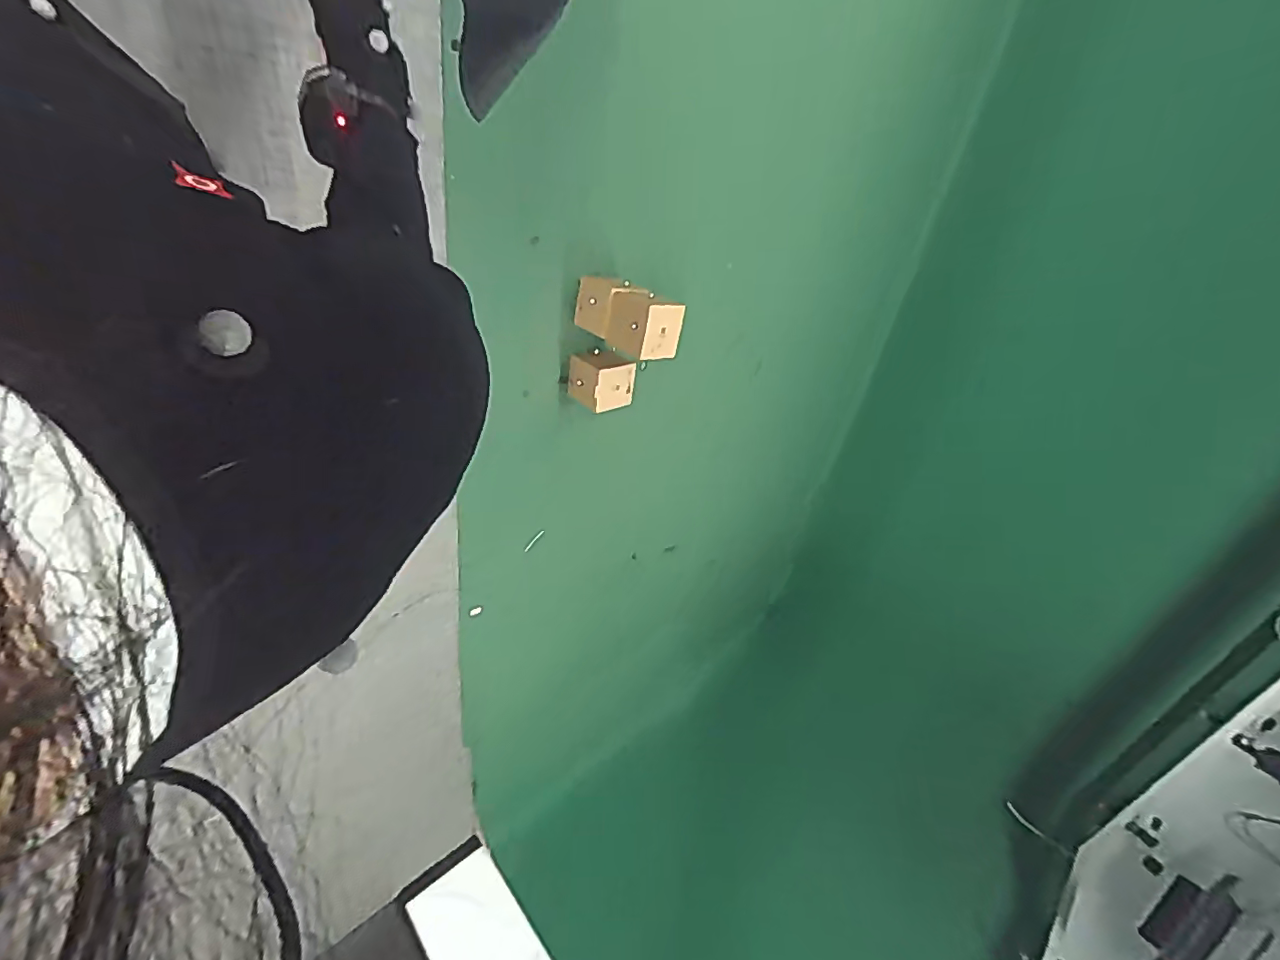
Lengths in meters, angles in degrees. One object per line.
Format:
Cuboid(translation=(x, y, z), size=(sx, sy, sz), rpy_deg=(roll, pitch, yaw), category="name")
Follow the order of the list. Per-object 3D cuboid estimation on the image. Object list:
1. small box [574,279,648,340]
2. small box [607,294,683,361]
Cuboid(translation=(-0.105, -0.581, 1.844), size=(0.179, 0.176, 0.168), rpy_deg=(-15, 128, -43), category="small box")
Cuboid(translation=(0.012, -0.499, 1.760), size=(0.168, 0.176, 0.179), rpy_deg=(-16, 129, -42), category="small box")
